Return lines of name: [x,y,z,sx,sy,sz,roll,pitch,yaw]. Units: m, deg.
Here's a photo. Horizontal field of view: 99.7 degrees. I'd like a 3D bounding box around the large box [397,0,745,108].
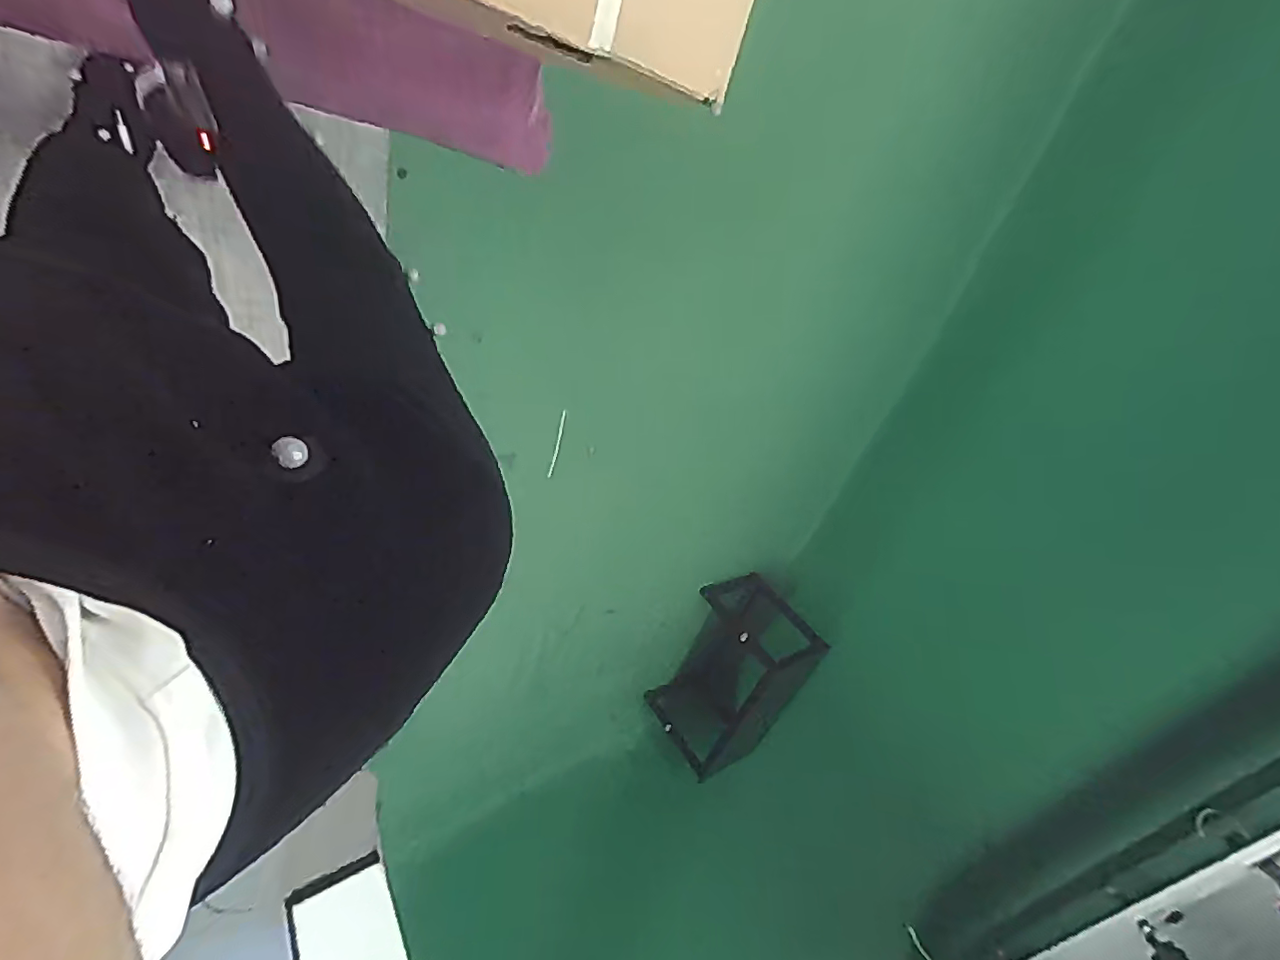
large box: [-0.070,-0.616,0.457,0.320,0.320,0.408,-7,131,-37]
